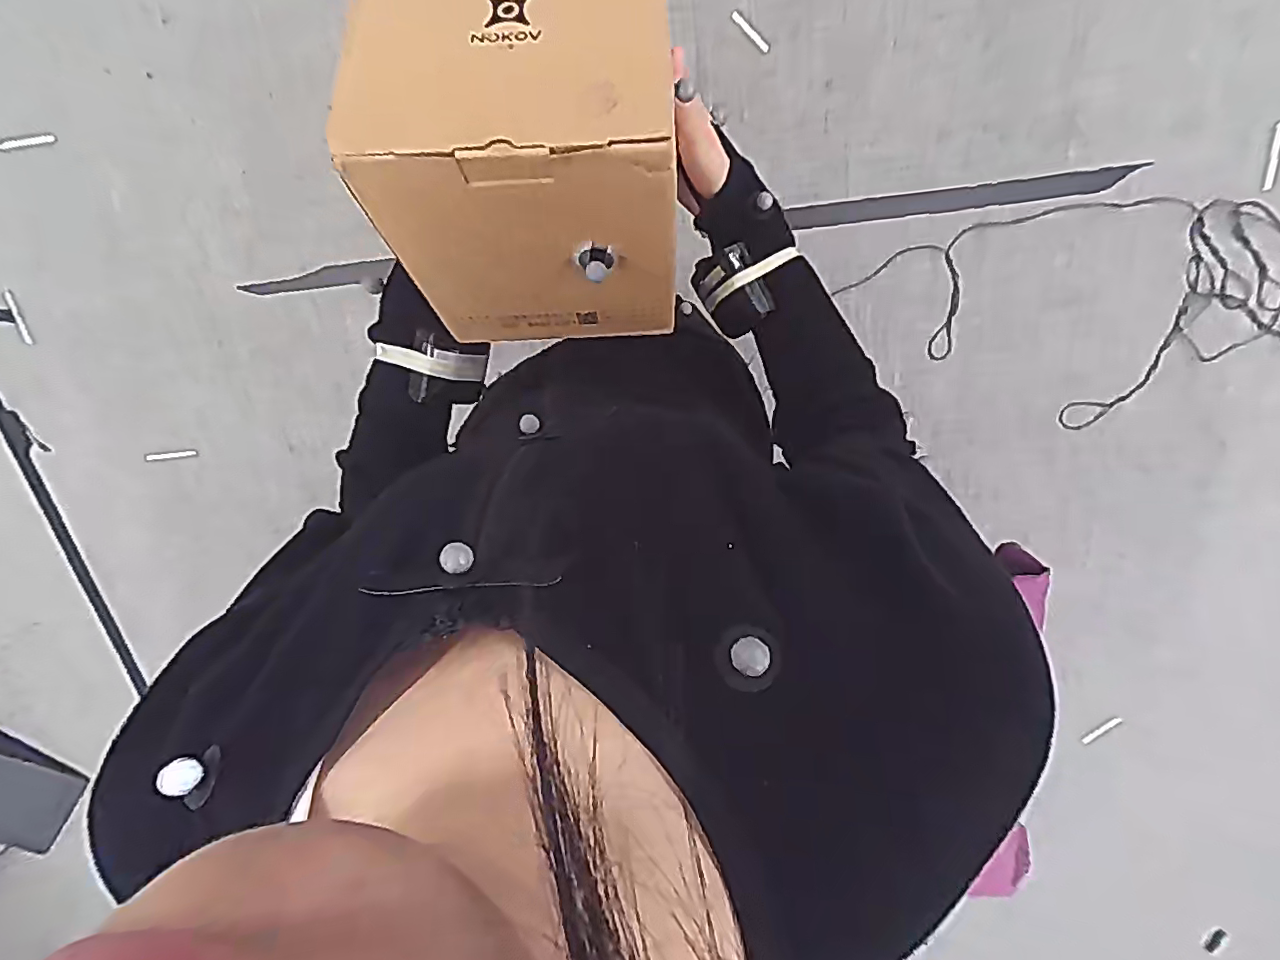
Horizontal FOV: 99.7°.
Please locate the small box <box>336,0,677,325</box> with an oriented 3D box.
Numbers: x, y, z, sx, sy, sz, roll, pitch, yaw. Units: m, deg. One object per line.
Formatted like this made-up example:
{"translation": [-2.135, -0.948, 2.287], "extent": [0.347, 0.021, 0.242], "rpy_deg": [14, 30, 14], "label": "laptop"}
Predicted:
{"translation": [-0.060, -0.214, 0.350], "extent": [0.168, 0.176, 0.179], "rpy_deg": [-2, 73, 1], "label": "small box"}
